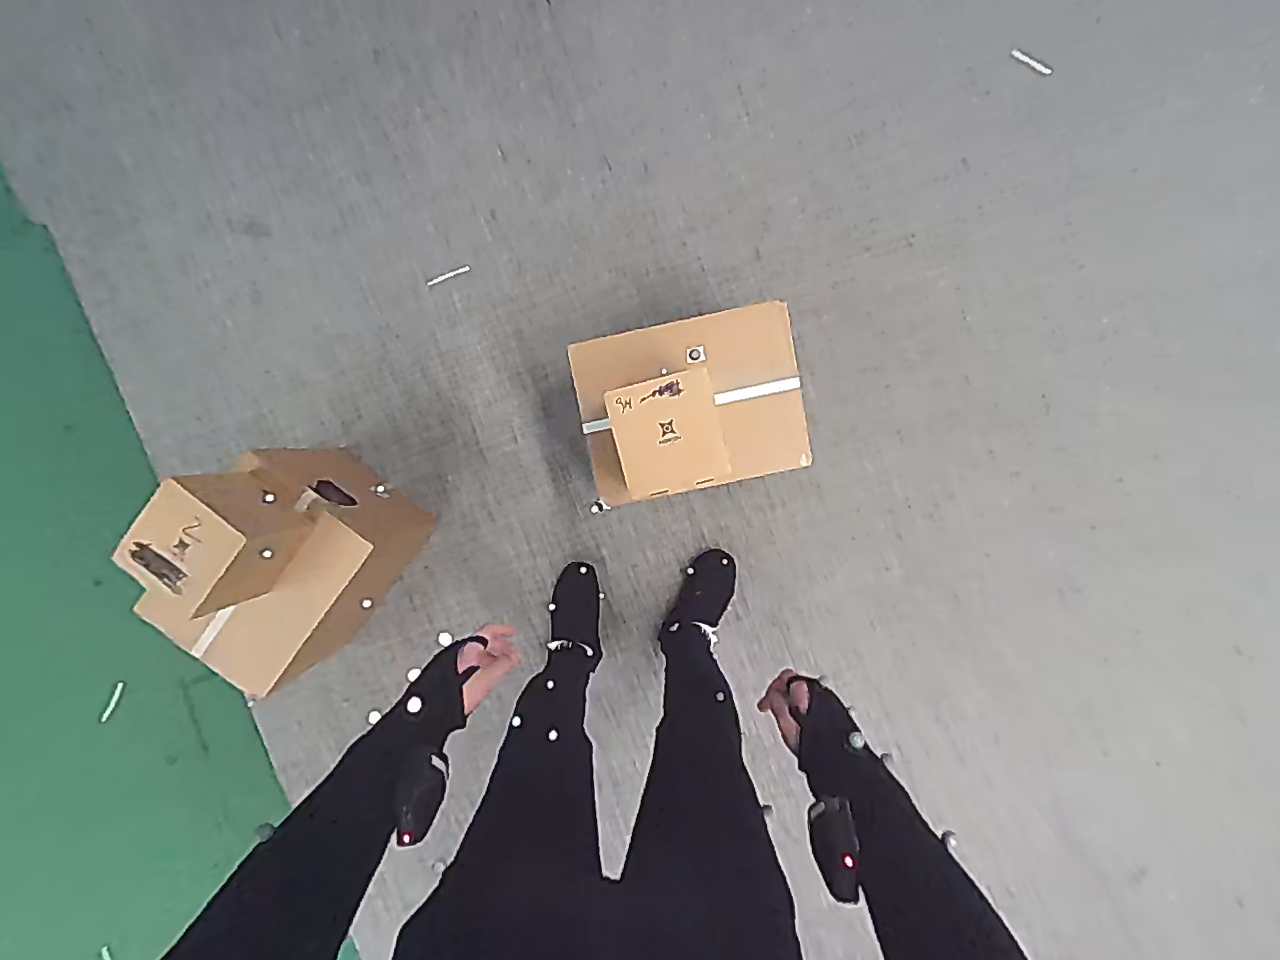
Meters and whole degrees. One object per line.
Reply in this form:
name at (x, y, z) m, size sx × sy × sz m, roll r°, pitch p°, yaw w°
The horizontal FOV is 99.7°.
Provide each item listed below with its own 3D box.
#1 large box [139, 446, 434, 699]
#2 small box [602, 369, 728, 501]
large box at (-0.741, 0.174, 1.194) m, size 0.320 × 0.320 × 0.408 m, roll 38°, pitch 95°, yaw 0°
small box at (0.042, -0.077, 0.907) m, size 0.168 × 0.176 × 0.179 m, roll -14°, pitch 95°, yaw 2°
